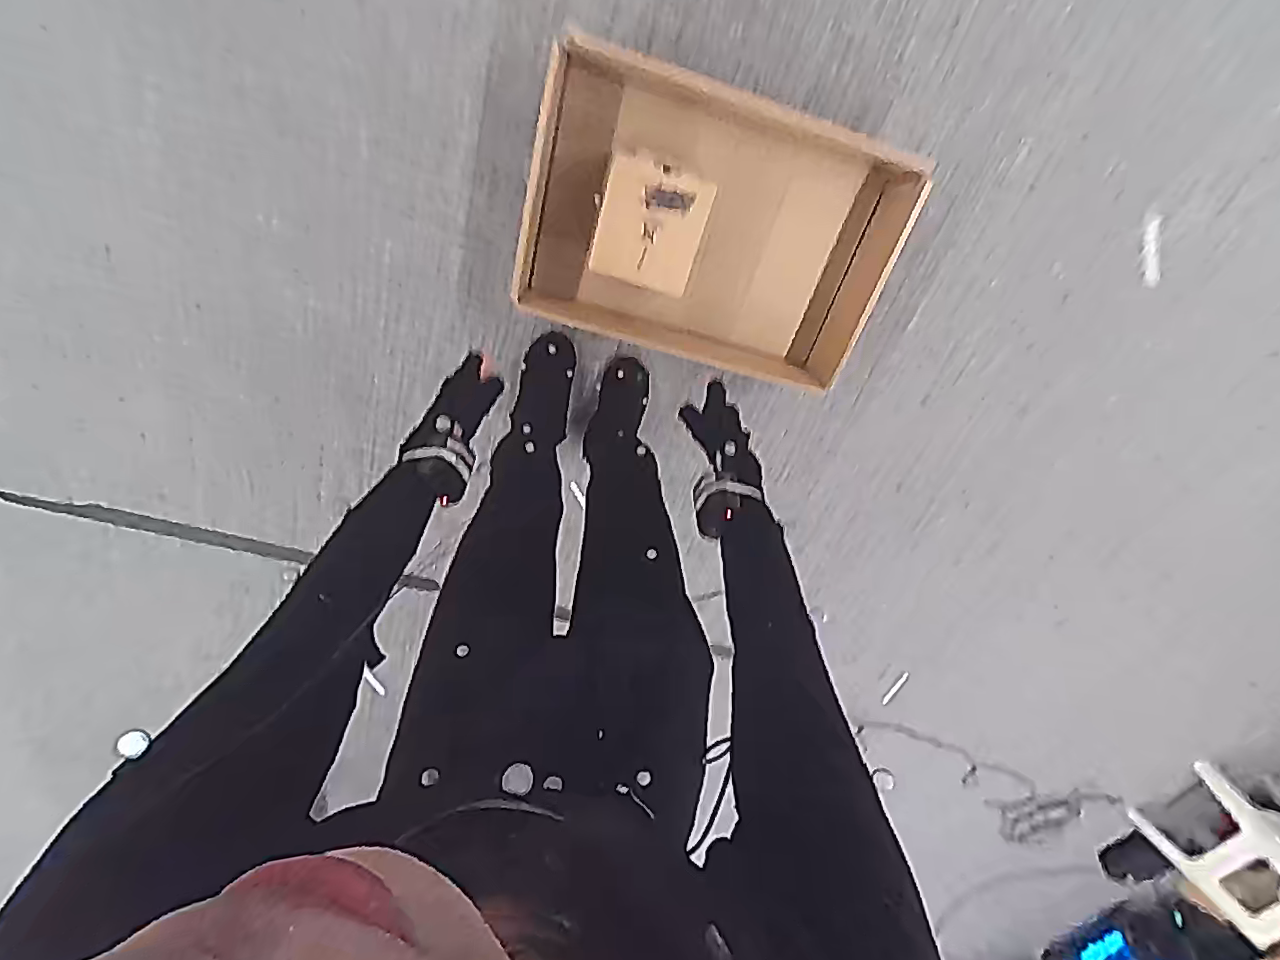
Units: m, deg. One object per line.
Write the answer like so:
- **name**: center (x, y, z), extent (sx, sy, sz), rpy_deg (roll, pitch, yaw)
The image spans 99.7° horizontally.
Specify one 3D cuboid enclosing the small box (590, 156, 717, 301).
- **small box**: center (0.013, -0.433, 0.928), extent (0.168, 0.176, 0.179), rpy_deg (13, 119, -11)
